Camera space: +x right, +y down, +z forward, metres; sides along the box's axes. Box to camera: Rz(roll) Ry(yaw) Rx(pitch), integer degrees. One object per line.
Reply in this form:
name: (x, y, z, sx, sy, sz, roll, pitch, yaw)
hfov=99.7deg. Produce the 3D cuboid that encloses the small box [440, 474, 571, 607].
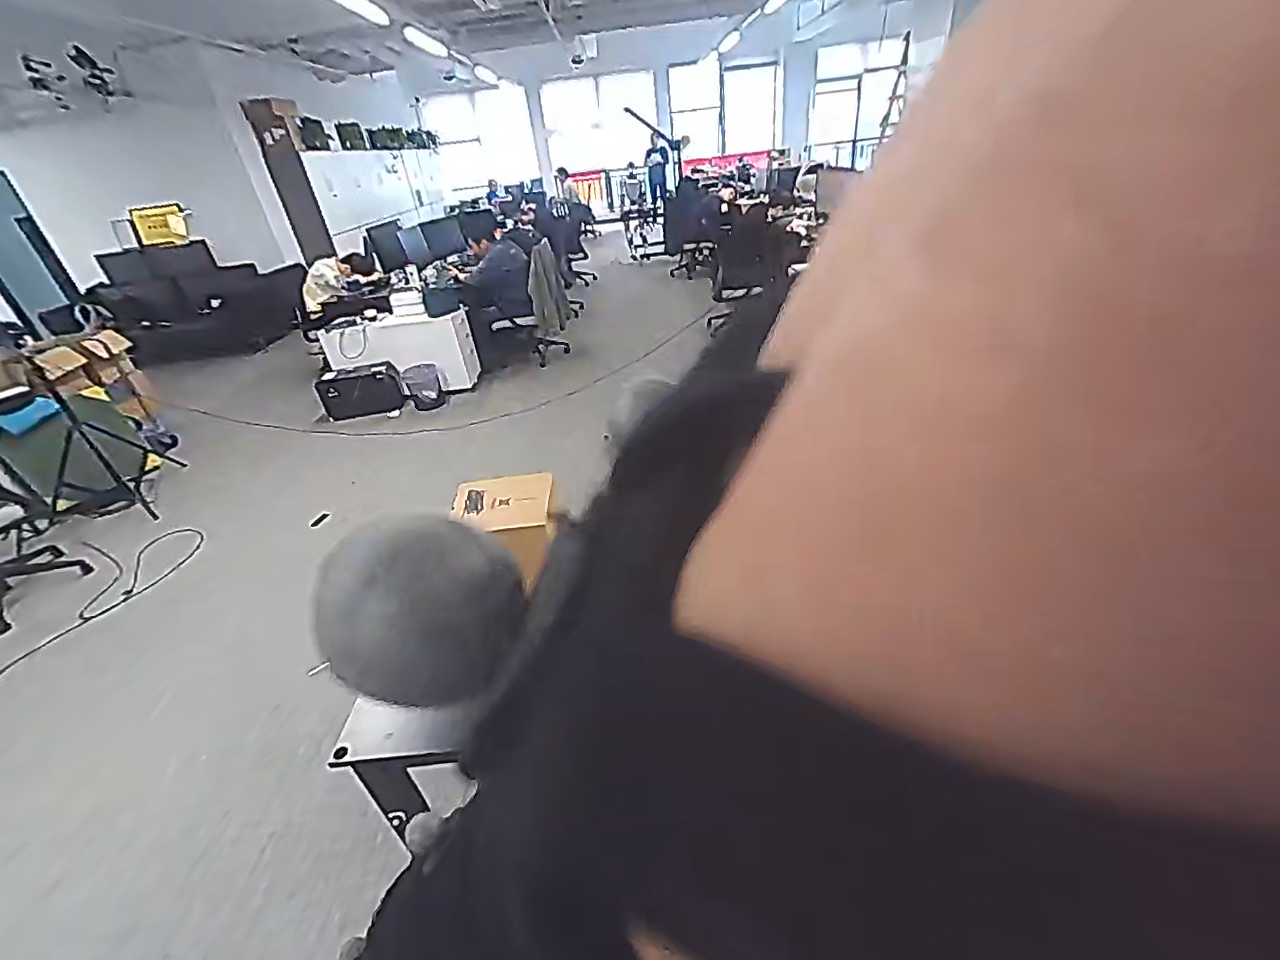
small box: (-0.230, 0.110, 0.969, 0.179, 0.176, 0.168, -7, 31, 0)
